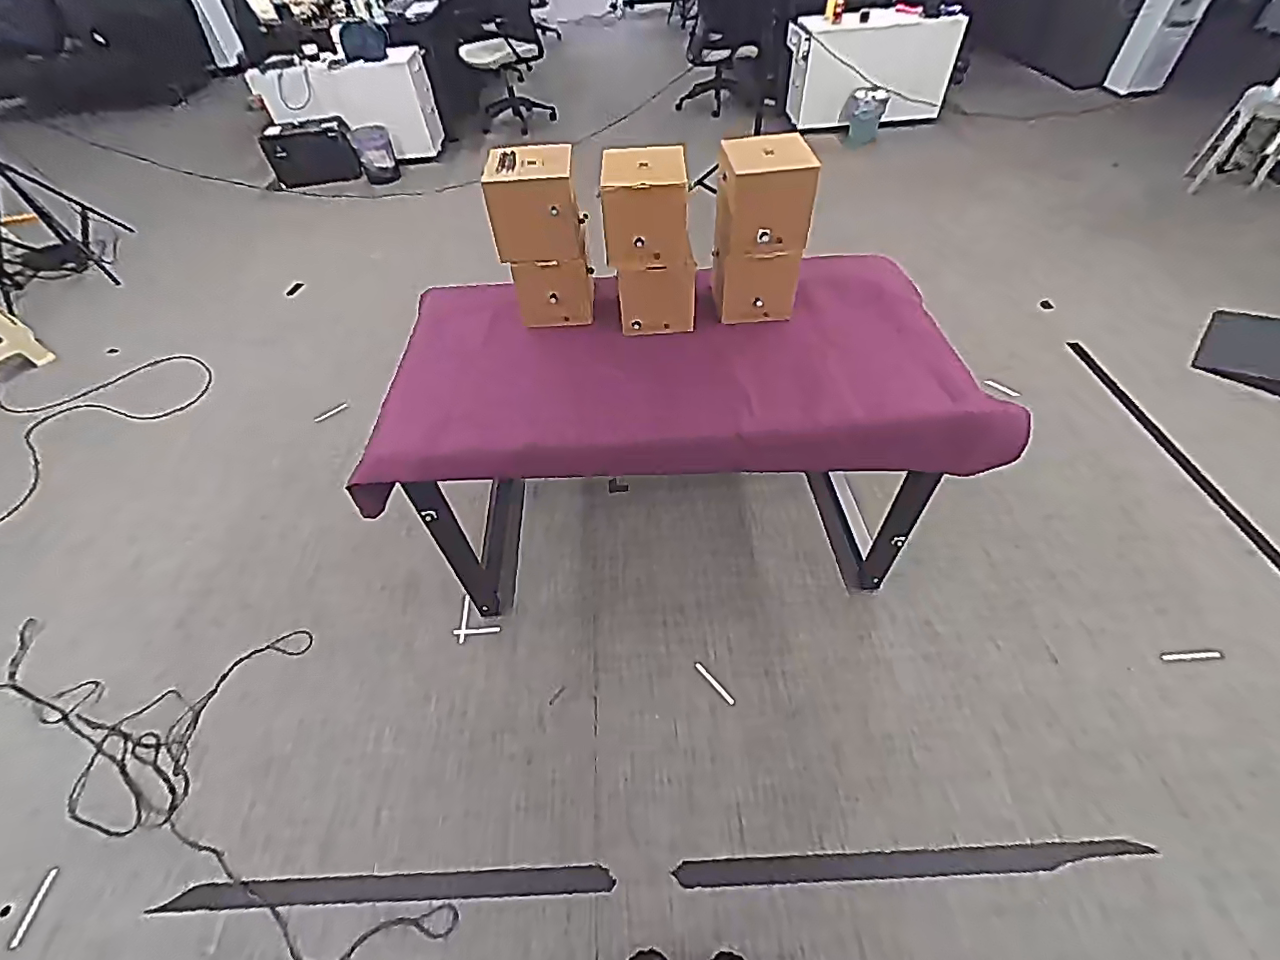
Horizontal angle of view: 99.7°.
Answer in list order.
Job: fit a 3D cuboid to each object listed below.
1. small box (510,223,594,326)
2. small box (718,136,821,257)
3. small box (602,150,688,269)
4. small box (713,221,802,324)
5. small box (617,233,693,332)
[{"bbox_3d":[-0.201,-0.482,1.284,0.168,0.176,0.179,-4,52,0],"label":"small box"},{"bbox_3d":[0.260,-0.594,1.136,0.168,0.176,0.179,-6,51,0],"label":"small box"},{"bbox_3d":[0.012,-0.562,1.126,0.168,0.176,0.179,-2,52,2],"label":"small box"},{"bbox_3d":[0.264,-0.486,1.258,0.168,0.176,0.179,-4,51,1],"label":"small box"},{"bbox_3d":[0.034,-0.455,1.248,0.168,0.176,0.179,-4,50,0],"label":"small box"}]
